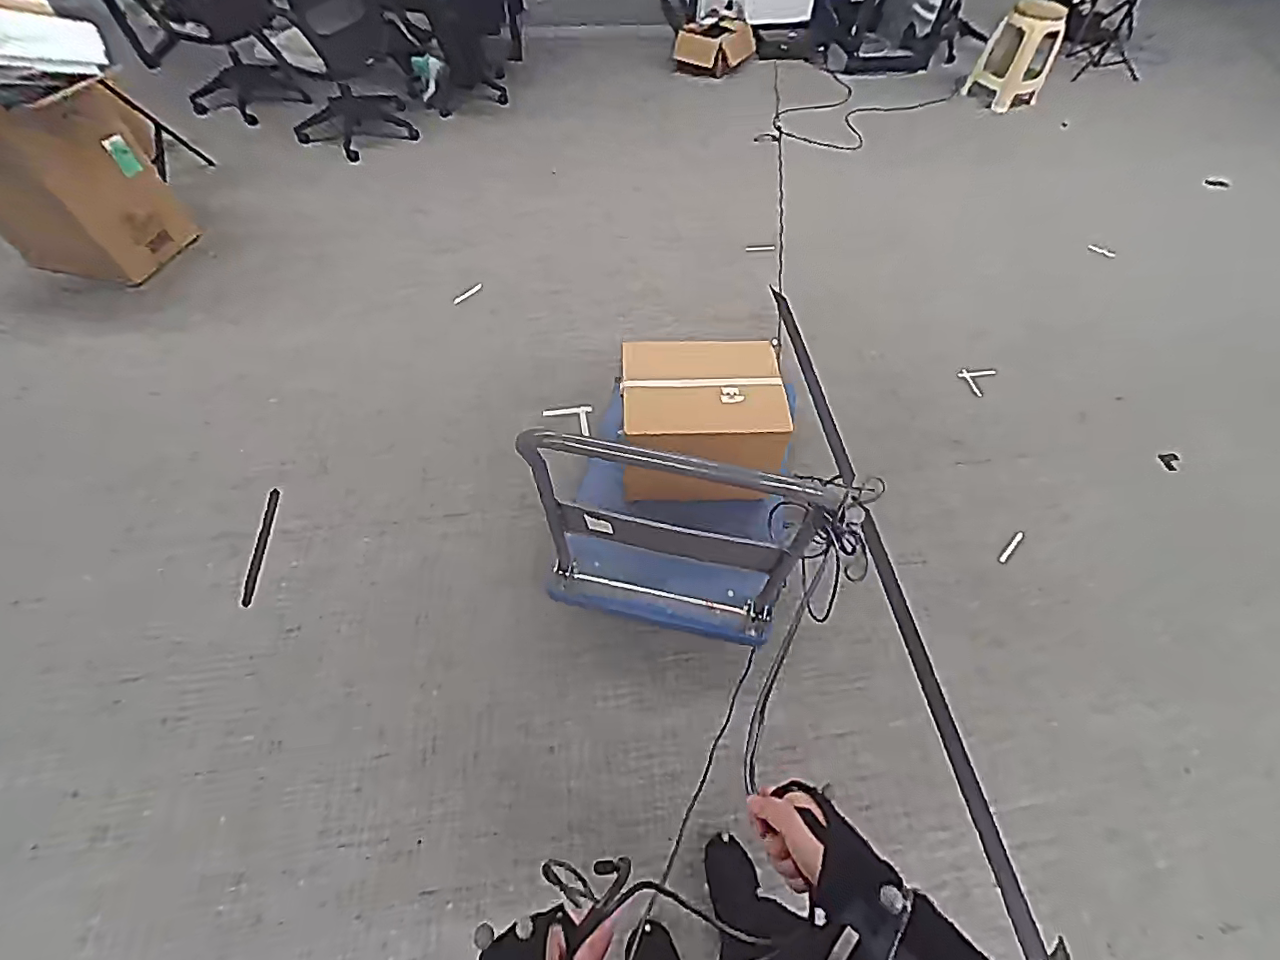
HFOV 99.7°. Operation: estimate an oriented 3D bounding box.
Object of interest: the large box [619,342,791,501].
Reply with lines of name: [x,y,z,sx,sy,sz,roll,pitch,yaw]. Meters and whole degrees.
large box: [0.149,-0.152,1.469,0.408,0.320,0.320,-1,57,-2]
